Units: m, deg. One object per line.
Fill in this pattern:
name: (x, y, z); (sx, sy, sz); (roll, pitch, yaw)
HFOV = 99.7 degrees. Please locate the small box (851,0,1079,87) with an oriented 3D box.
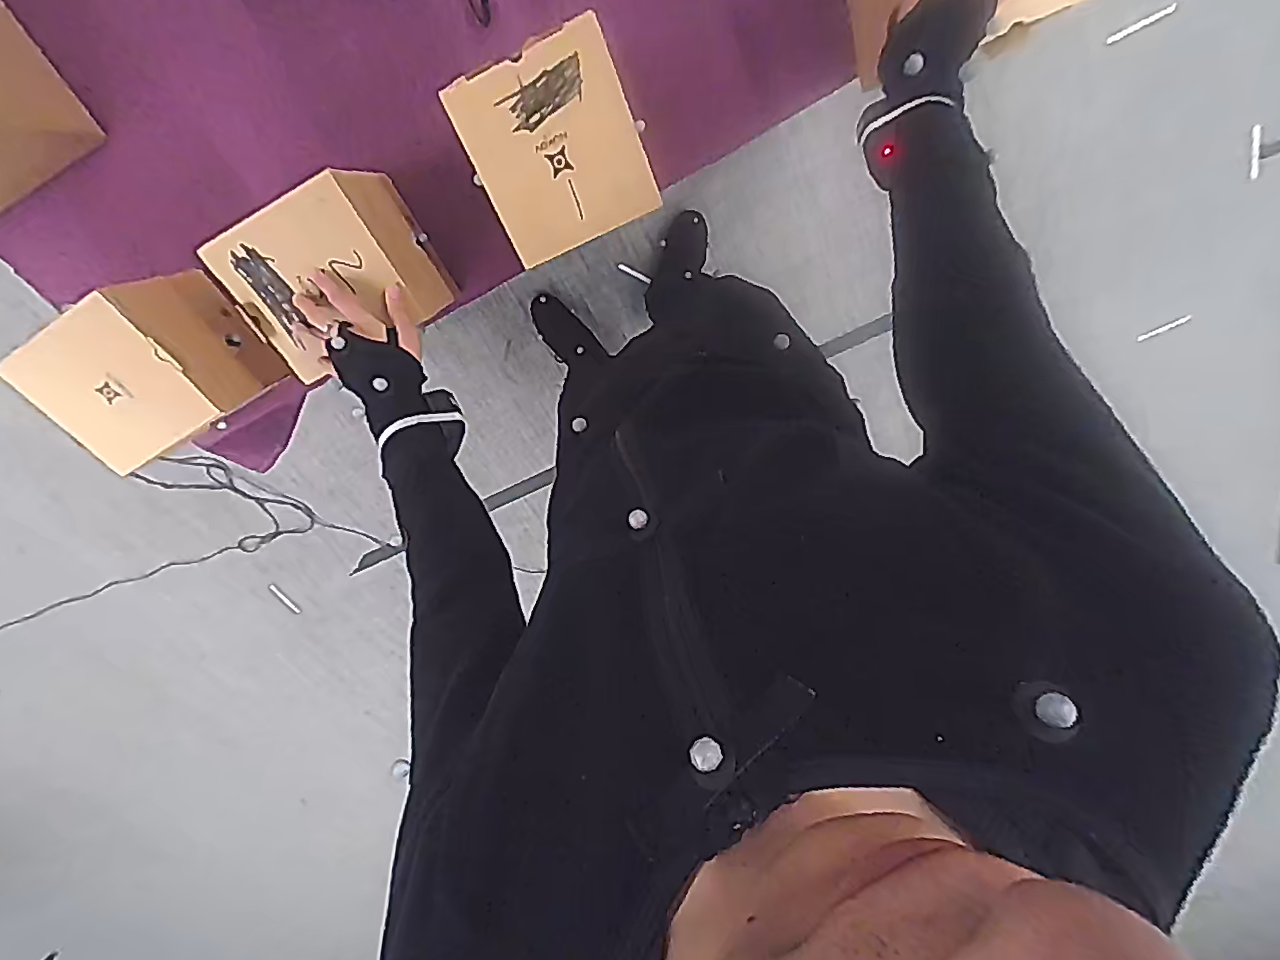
small box: (0.319, -0.535, 0.540); (0.168, 0.176, 0.179); (-19, 118, 9)

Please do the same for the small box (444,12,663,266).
small box: (-0.087, -0.366, 0.610); (0.168, 0.176, 0.179); (-22, 118, 8)

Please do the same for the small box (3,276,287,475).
small box: (-0.614, -0.141, 0.701); (0.179, 0.176, 0.168); (-28, 116, 10)
